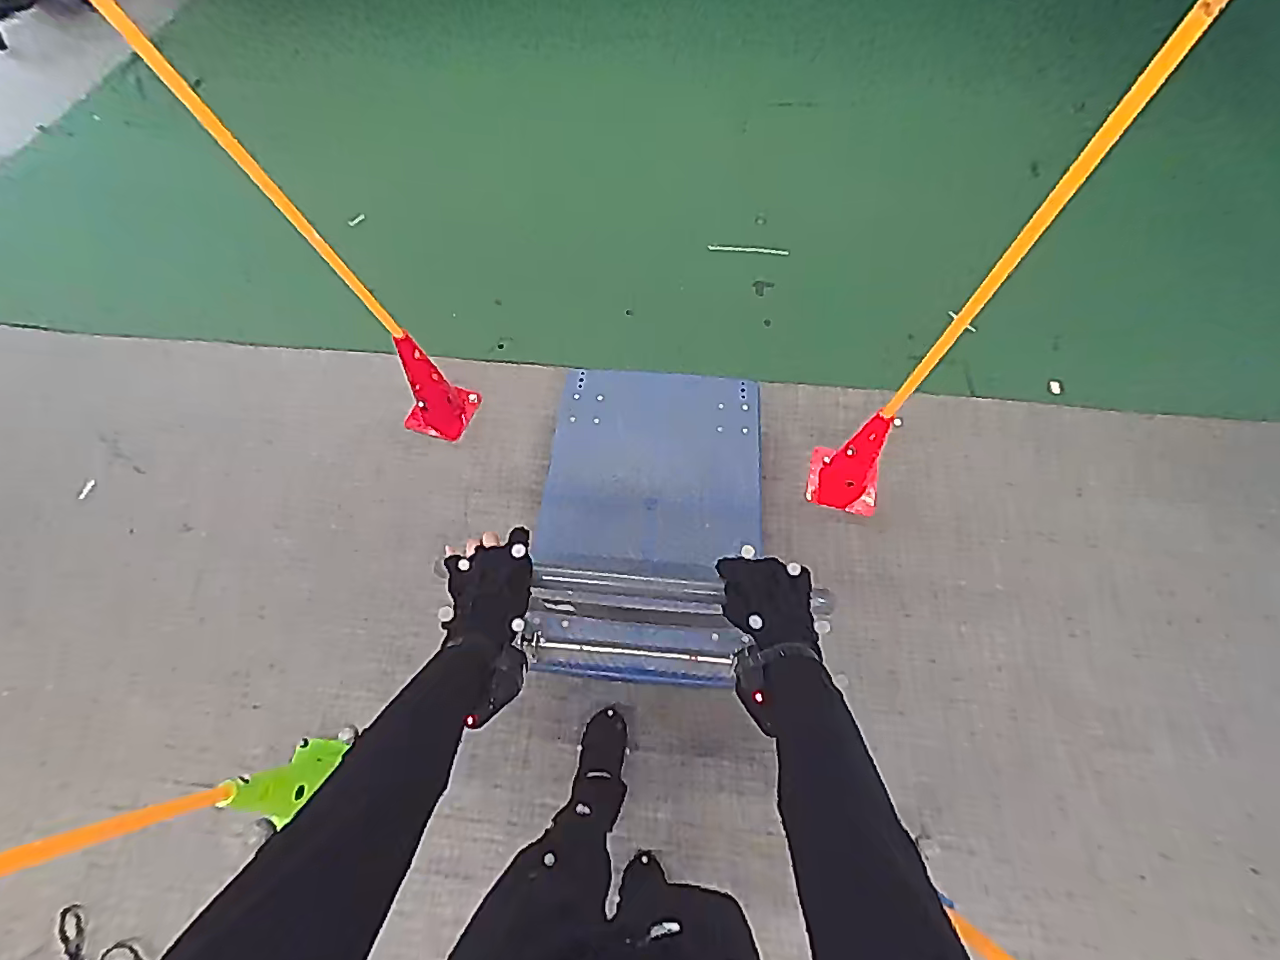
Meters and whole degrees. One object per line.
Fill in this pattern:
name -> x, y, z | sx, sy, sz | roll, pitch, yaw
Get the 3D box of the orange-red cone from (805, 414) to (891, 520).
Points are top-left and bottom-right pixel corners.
orange-red cone -> 0.607, -0.064, 1.487 | 0.198, 0.360, 0.199 | 15, 63, 9
